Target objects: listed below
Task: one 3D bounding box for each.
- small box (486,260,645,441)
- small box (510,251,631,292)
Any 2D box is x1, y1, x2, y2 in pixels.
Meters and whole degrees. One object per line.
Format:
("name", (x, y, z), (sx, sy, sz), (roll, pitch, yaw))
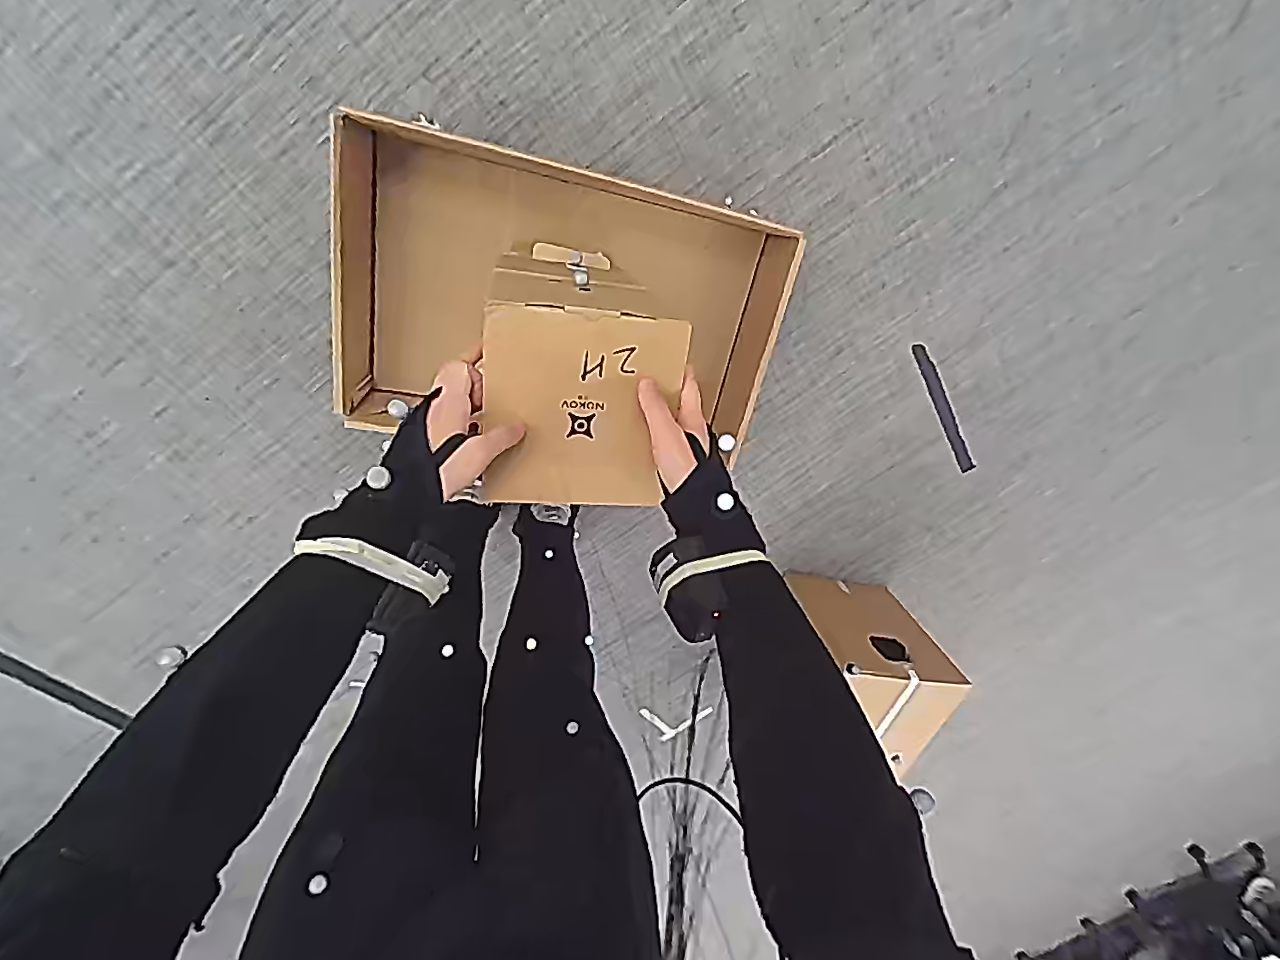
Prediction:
("small box", (-0.099, -0.164, 0.672), (0.168, 0.176, 0.179), (2, 116, -14))
("small box", (-0.122, -0.236, 0.816), (0.168, 0.176, 0.179), (7, 117, -14))
